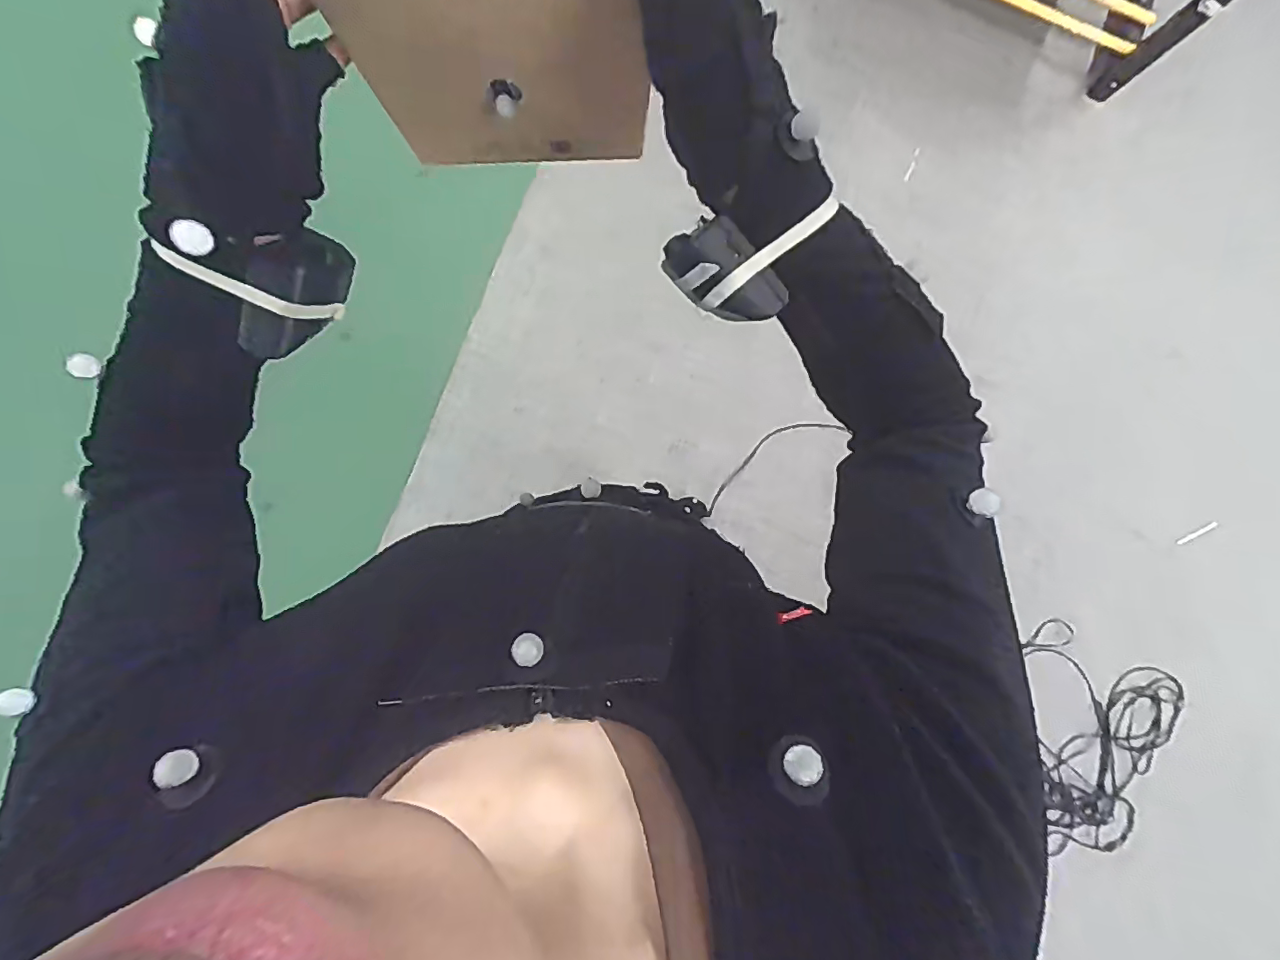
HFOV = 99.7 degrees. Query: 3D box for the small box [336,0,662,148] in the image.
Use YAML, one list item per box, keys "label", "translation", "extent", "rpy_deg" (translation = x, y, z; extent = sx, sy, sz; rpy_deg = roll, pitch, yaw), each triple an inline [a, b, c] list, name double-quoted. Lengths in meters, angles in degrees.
- label: "small box"
  translation: [-0.073, -0.324, 0.318]
  extent: [0.168, 0.176, 0.179]
  rpy_deg: [-3, 92, -3]
